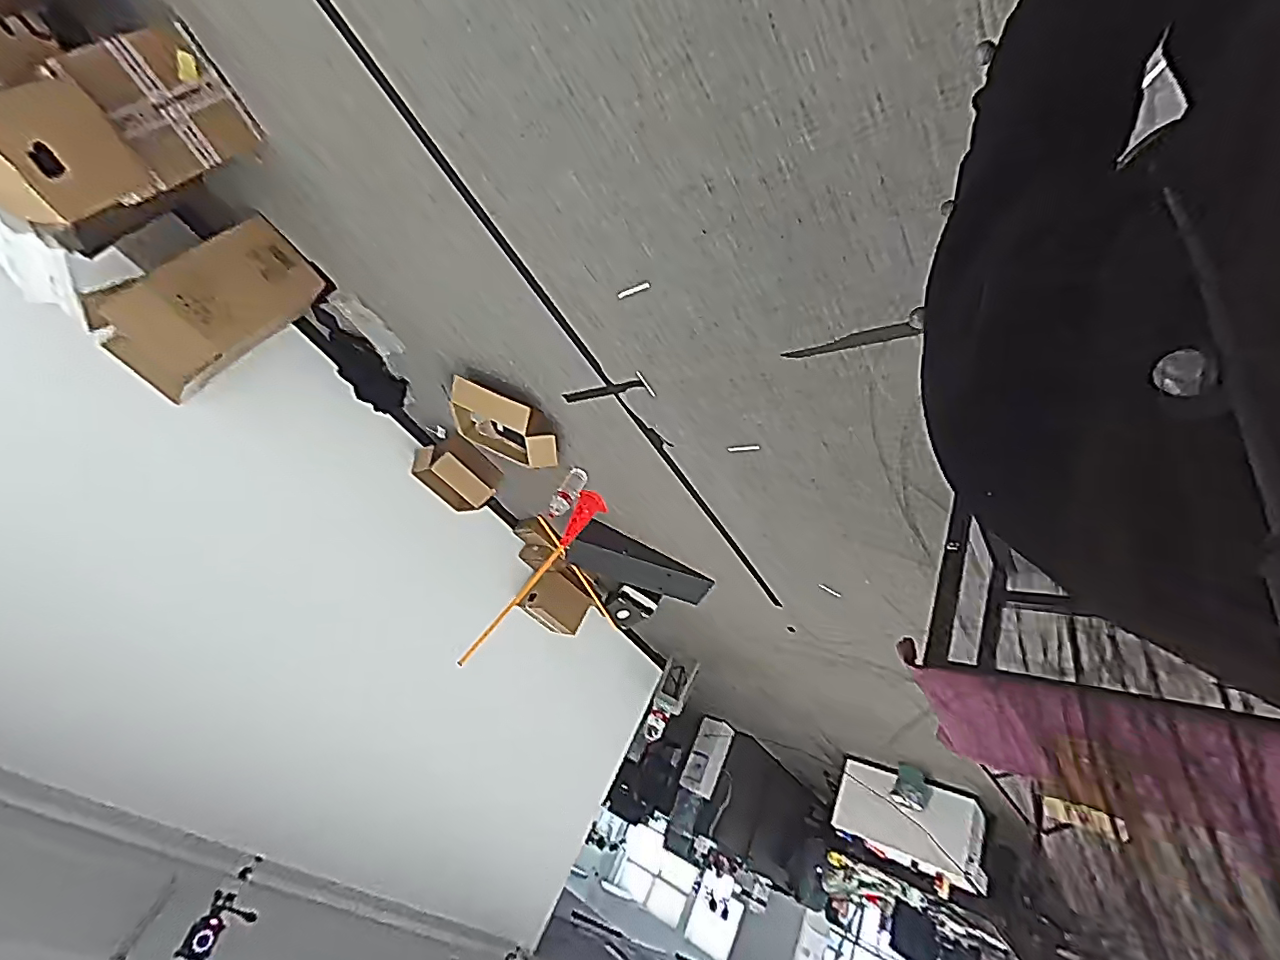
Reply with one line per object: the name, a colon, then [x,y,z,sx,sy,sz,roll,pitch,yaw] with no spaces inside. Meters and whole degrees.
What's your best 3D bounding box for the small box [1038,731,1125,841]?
small box: [1.128,0.778,1.384,0.168,0.176,0.179,2,139,39]
